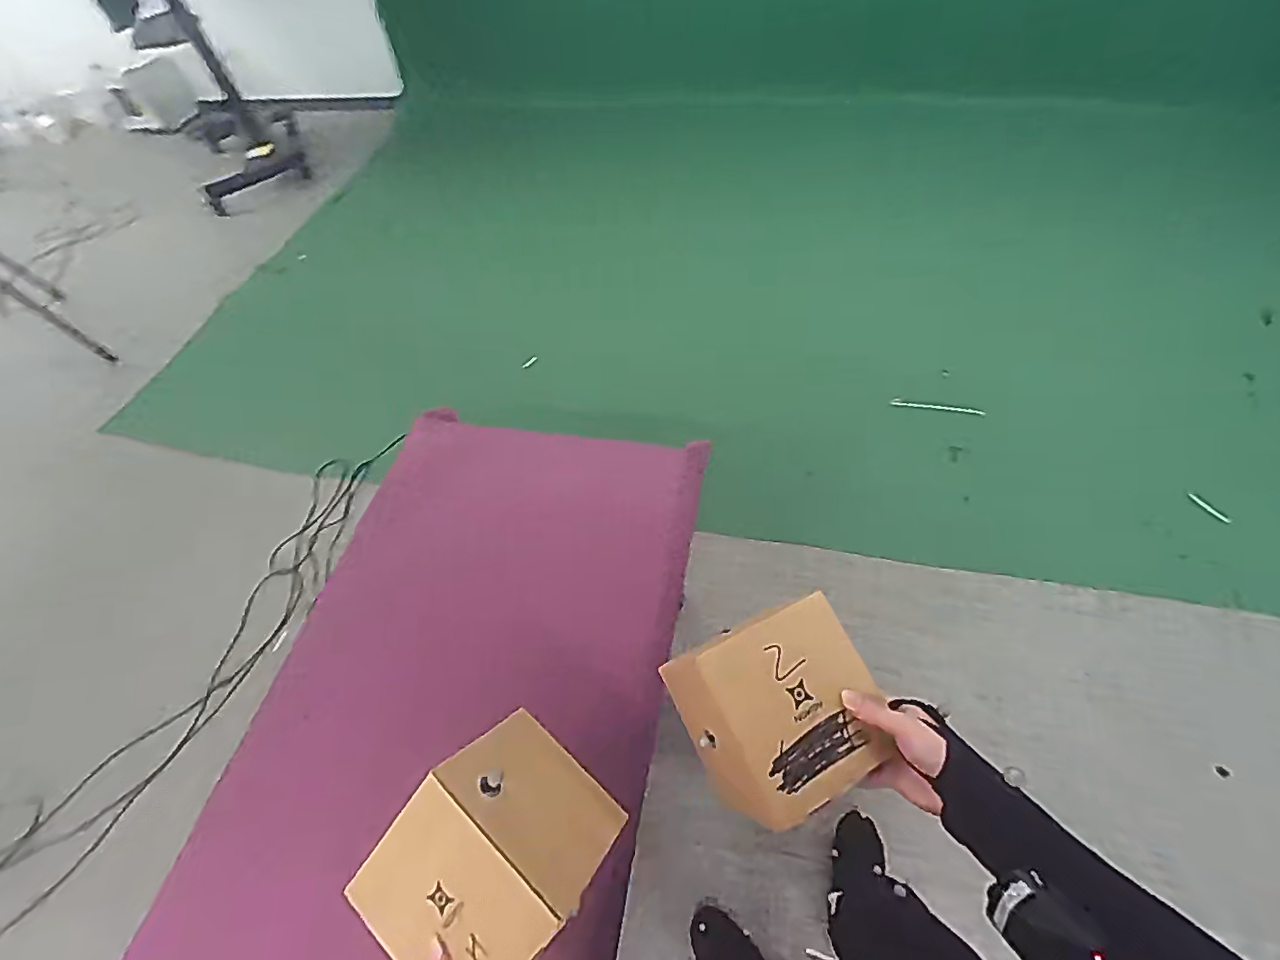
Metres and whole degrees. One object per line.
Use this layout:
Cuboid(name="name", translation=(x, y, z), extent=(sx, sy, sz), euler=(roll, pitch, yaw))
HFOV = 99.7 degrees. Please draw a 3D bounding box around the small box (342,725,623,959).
Cuboid(name="small box", translation=(-0.149, 0.382, 0.553), extent=(0.179, 0.176, 0.168), euler=(41, 100, 17))
